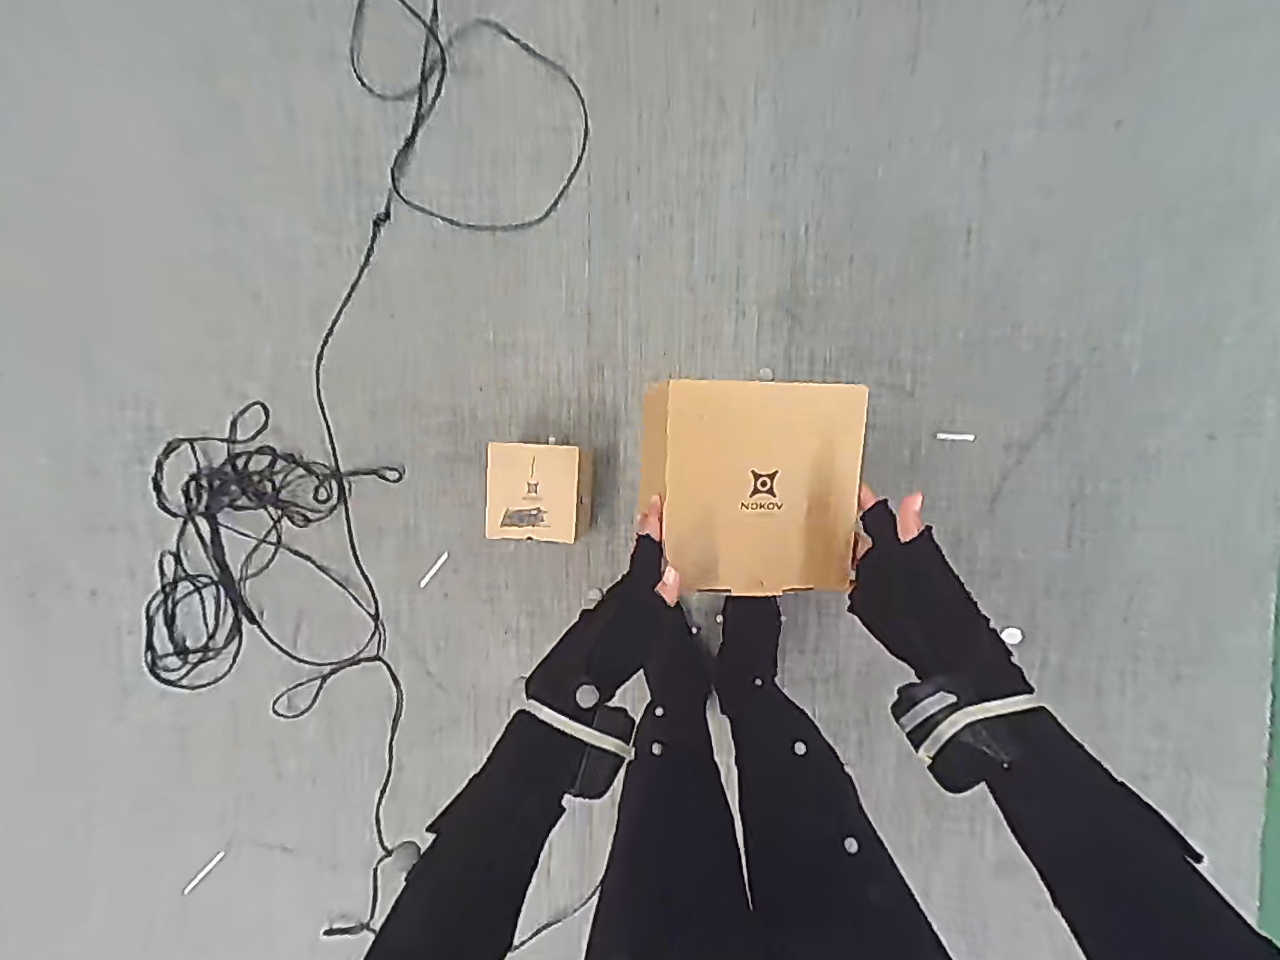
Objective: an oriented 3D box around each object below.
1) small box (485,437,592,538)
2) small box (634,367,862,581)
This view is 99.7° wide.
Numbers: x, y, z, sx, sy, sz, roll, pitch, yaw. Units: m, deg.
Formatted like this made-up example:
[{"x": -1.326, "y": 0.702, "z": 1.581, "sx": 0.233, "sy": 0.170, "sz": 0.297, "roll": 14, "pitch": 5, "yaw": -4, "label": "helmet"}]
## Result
[{"x": -0.189, "y": 0.009, "z": 1.049, "sx": 0.168, "sy": 0.176, "sz": 0.179, "roll": 3, "pitch": 93, "yaw": 3, "label": "small box"}, {"x": 0.086, "y": -0.015, "z": 0.522, "sx": 0.168, "sy": 0.176, "sz": 0.179, "roll": 1, "pitch": 101, "yaw": -8, "label": "small box"}]
